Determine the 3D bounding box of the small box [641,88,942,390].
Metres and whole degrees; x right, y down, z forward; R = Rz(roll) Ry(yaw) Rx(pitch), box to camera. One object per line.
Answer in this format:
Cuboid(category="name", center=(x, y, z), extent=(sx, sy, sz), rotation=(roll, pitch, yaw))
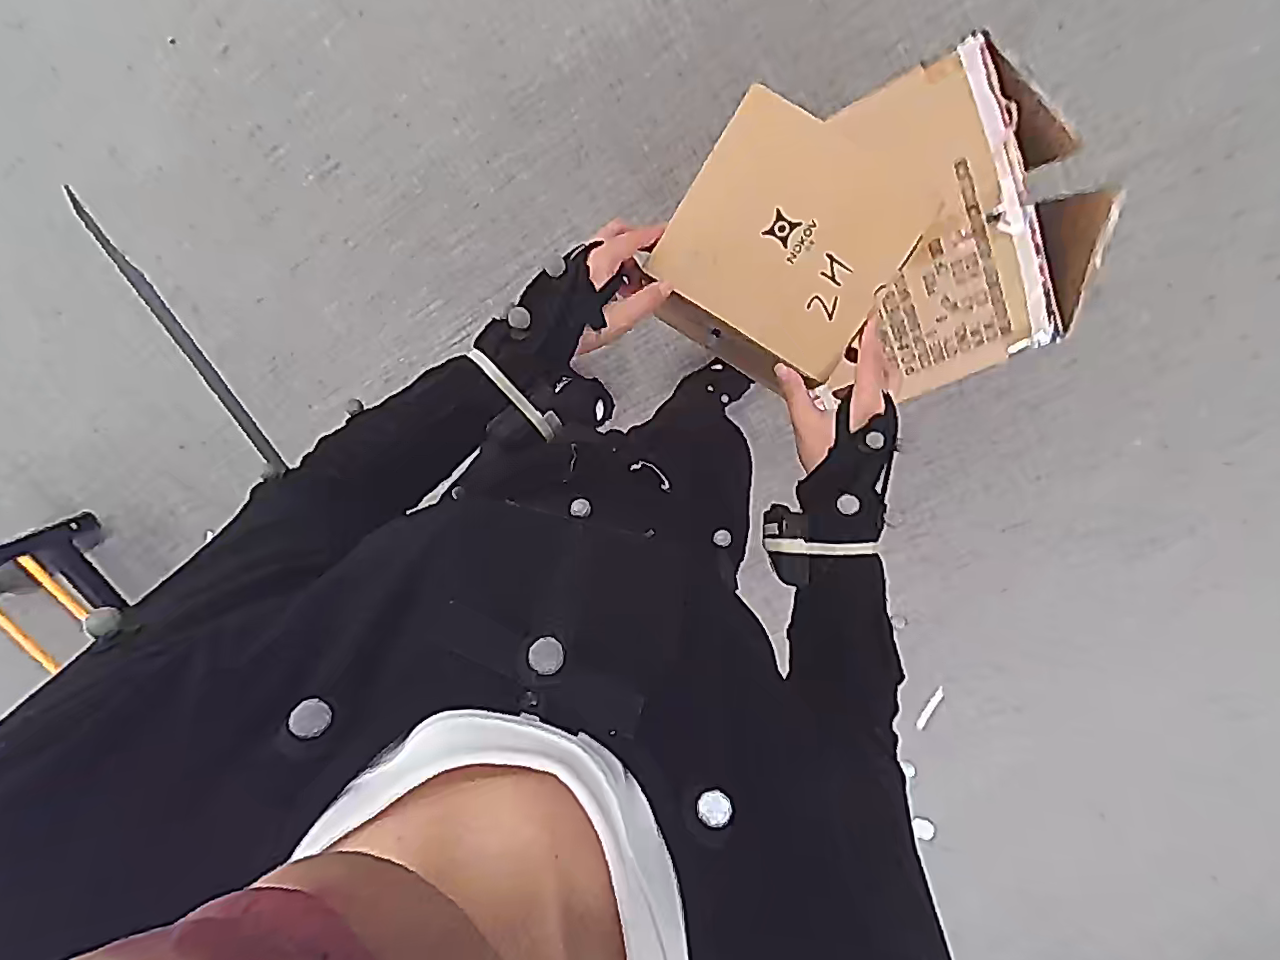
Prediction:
Cuboid(category="small box", center=(0.121, -0.195, 0.498), extent=(0.179, 0.176, 0.168), rotation=(32, 98, 1))
